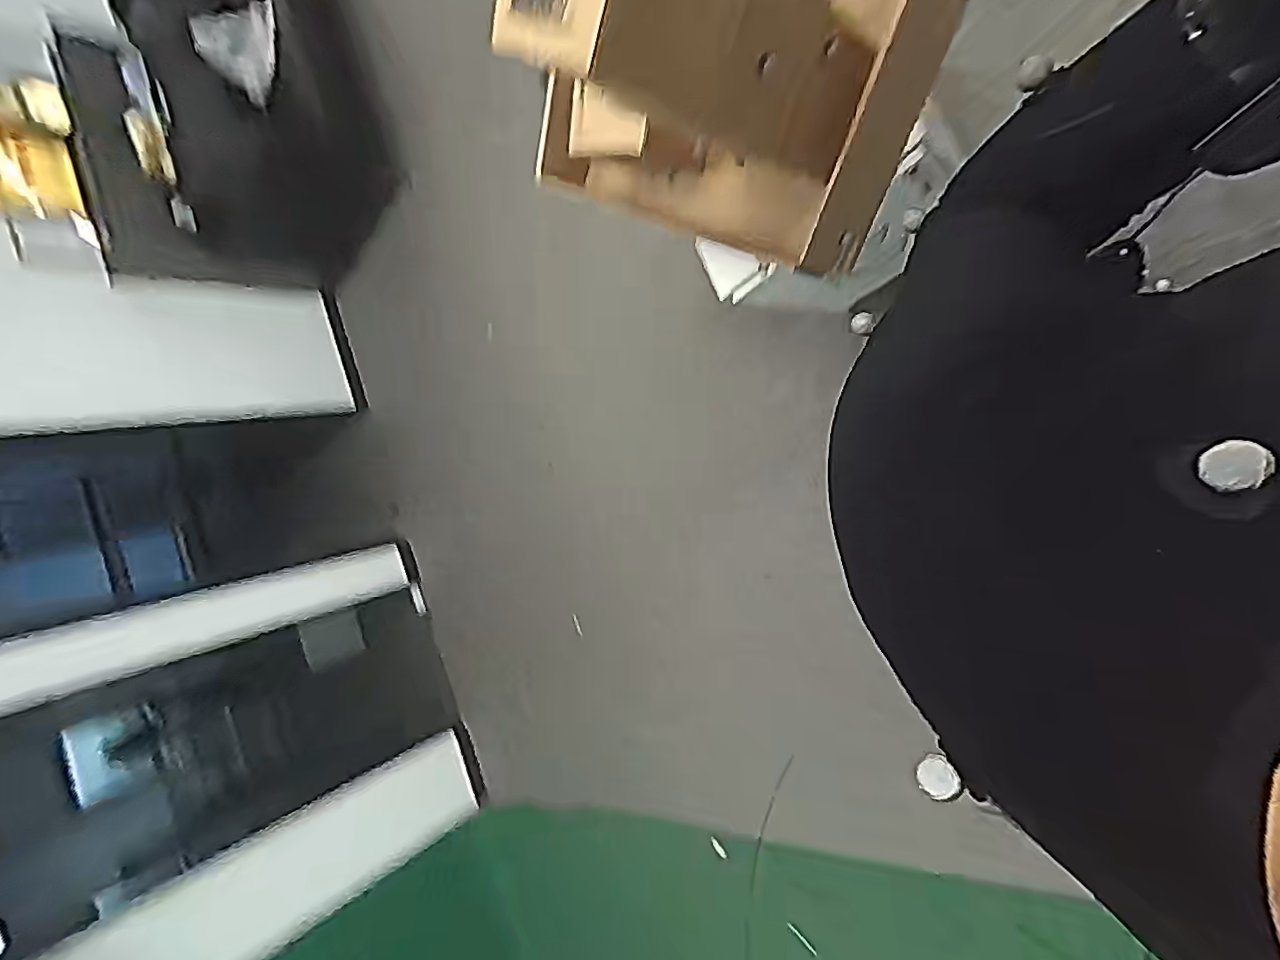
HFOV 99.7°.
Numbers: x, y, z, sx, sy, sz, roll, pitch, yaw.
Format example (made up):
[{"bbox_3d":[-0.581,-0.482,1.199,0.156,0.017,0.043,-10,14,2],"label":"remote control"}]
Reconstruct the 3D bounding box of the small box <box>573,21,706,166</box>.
[{"bbox_3d":[0.013,-0.651,0.924,0.179,0.176,0.168,25,116,34],"label":"small box"}]

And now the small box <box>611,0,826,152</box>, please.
[{"bbox_3d":[0.097,-0.528,0.652,0.168,0.176,0.179,39,125,32],"label":"small box"}]
